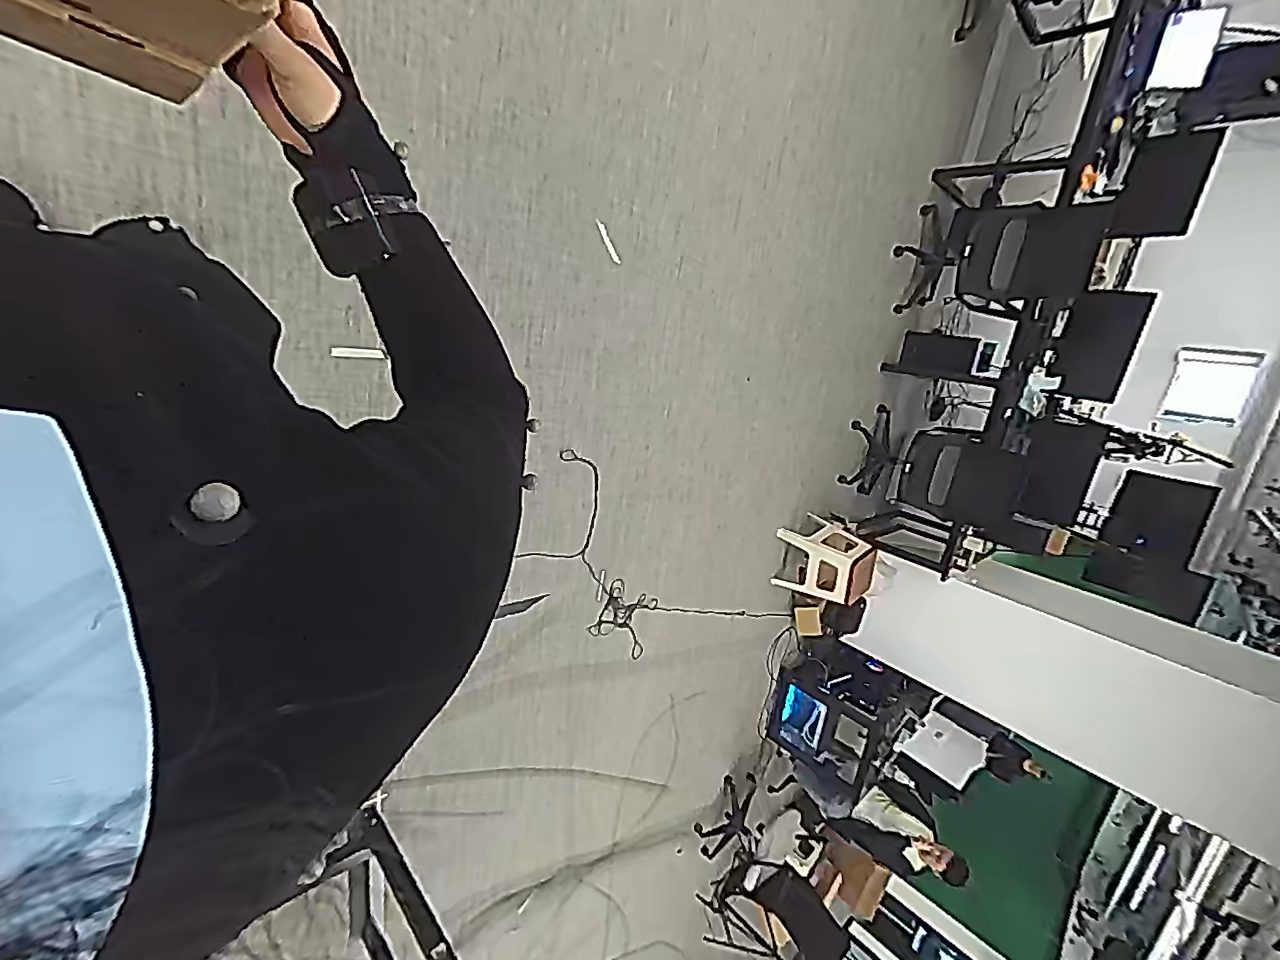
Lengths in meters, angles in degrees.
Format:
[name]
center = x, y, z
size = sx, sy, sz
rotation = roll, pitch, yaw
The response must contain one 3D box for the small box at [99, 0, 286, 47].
[small box]
center = -0.232, -0.303, 0.196
size = 0.168, 0.176, 0.179
rotation = -1, 112, -47
